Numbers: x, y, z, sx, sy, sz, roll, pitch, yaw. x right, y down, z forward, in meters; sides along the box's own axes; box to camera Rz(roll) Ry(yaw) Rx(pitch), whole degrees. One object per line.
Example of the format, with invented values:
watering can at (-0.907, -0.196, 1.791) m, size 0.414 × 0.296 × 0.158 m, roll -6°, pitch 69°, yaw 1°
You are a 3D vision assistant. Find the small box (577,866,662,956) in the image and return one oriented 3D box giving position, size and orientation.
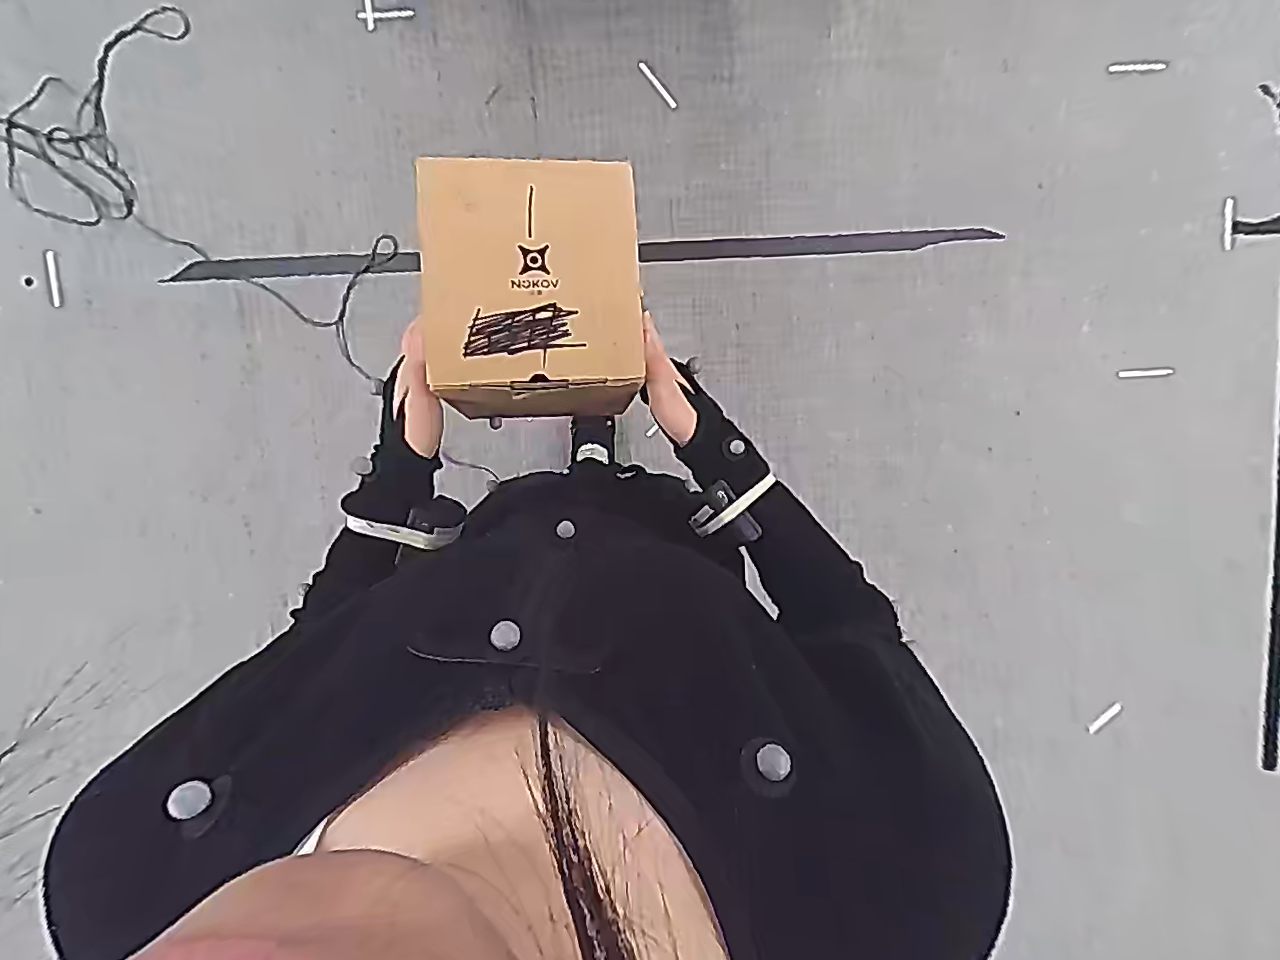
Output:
small box at (-0.041, 0.997, 1.199) m, size 0.179 × 0.176 × 0.168 m, roll -5°, pitch 94°, yaw -1°

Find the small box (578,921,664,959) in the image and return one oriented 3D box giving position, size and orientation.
small box at (-0.032, 1.002, 1.036) m, size 0.168 × 0.176 × 0.179 m, roll -4°, pitch 94°, yaw -2°

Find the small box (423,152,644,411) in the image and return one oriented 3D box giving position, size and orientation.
small box at (-0.089, -0.159, 0.491) m, size 0.168 × 0.176 × 0.179 m, roll -2°, pitch 87°, yaw -8°
